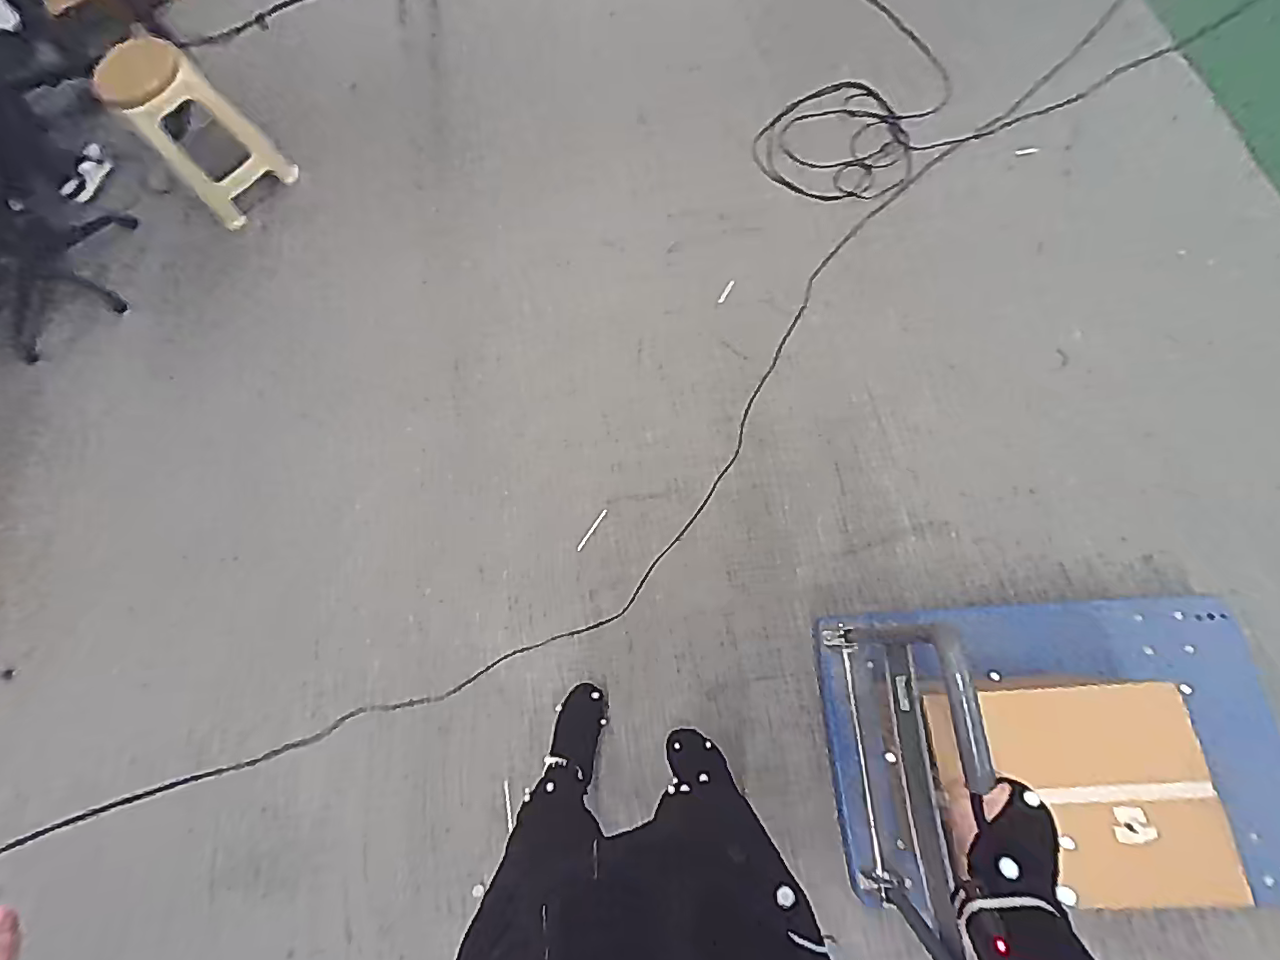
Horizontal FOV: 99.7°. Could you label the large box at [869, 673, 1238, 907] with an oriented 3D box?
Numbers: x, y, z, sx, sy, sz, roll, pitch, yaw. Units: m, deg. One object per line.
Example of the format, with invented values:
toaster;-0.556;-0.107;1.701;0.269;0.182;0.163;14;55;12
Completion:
large box;0.699;0.539;1.006;0.408;0.320;0.320;-6;73;5
